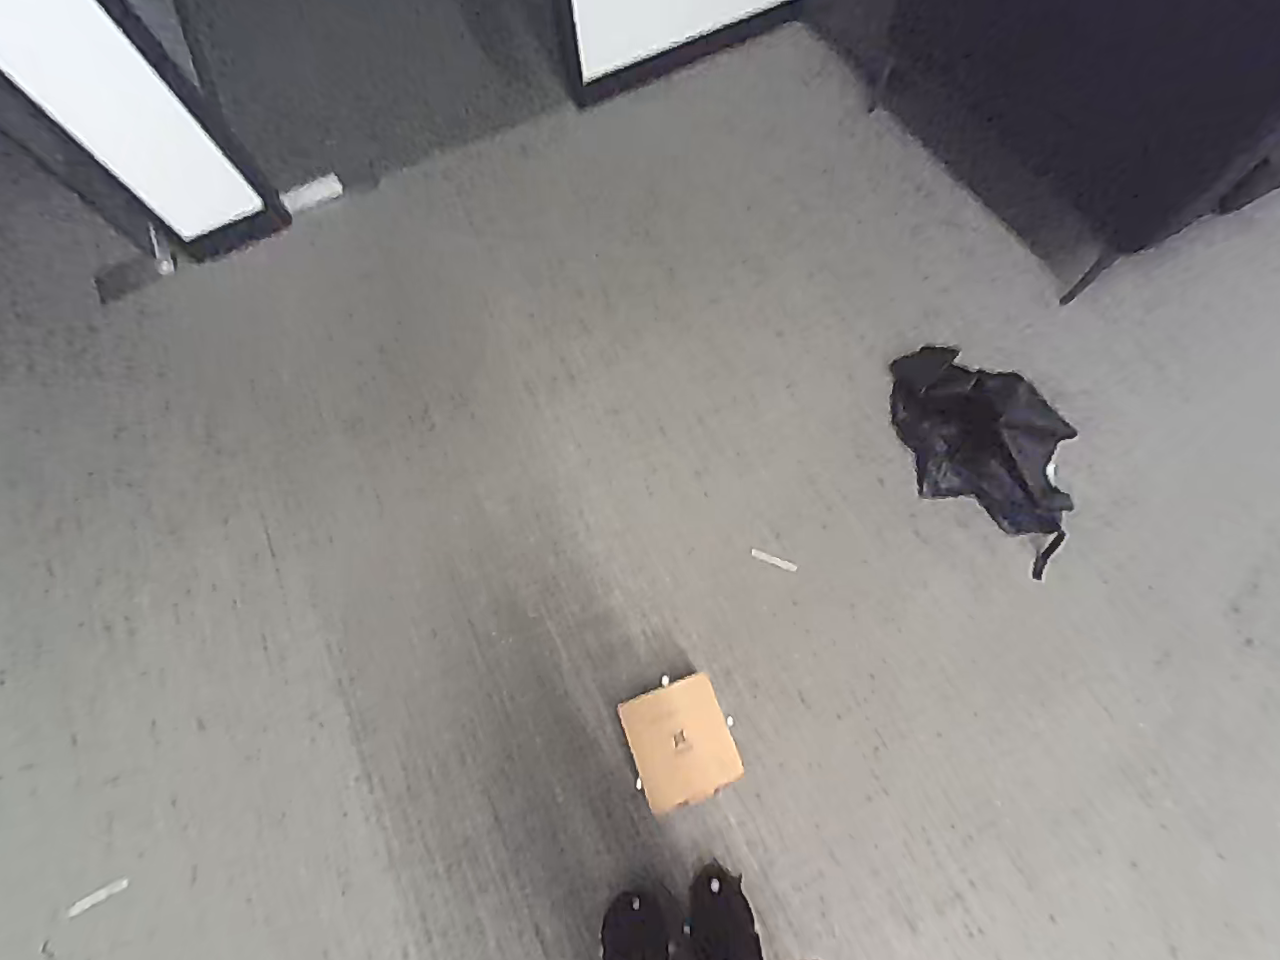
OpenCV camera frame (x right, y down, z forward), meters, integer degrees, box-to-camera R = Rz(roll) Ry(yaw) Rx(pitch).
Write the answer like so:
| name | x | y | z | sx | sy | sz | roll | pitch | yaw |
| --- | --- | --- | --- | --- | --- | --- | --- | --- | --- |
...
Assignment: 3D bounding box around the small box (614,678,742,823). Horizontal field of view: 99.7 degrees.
| name | x | y | z | sx | sy | sz | roll | pitch | yaw |
| --- | --- | --- | --- | --- | --- | --- | --- | --- | --- |
| small box | 0.064 | 0.467 | 0.959 | 0.168 | 0.176 | 0.179 | -20 | 68 | -6 |
